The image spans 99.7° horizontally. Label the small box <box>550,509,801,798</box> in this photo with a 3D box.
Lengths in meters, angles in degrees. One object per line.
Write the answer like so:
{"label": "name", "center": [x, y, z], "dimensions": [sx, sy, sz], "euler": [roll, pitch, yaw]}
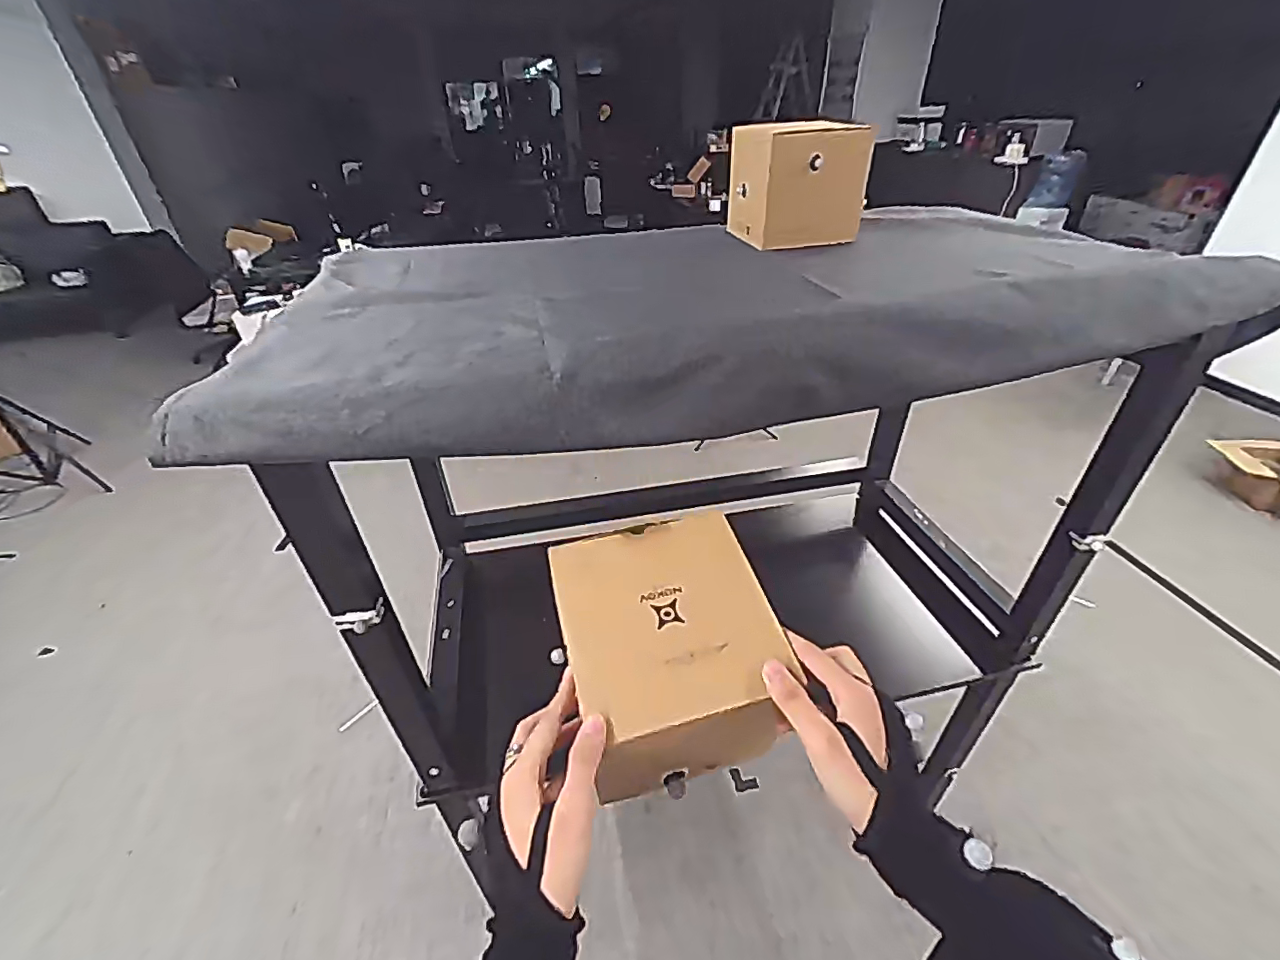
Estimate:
{"label": "small box", "center": [0.017, 0.156, 0.493], "dimensions": [0.168, 0.176, 0.179], "euler": [-11, 49, -11]}

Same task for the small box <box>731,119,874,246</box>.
{"label": "small box", "center": [0.261, -0.505, 0.916], "dimensions": [0.179, 0.176, 0.168], "euler": [-9, 37, -9]}
